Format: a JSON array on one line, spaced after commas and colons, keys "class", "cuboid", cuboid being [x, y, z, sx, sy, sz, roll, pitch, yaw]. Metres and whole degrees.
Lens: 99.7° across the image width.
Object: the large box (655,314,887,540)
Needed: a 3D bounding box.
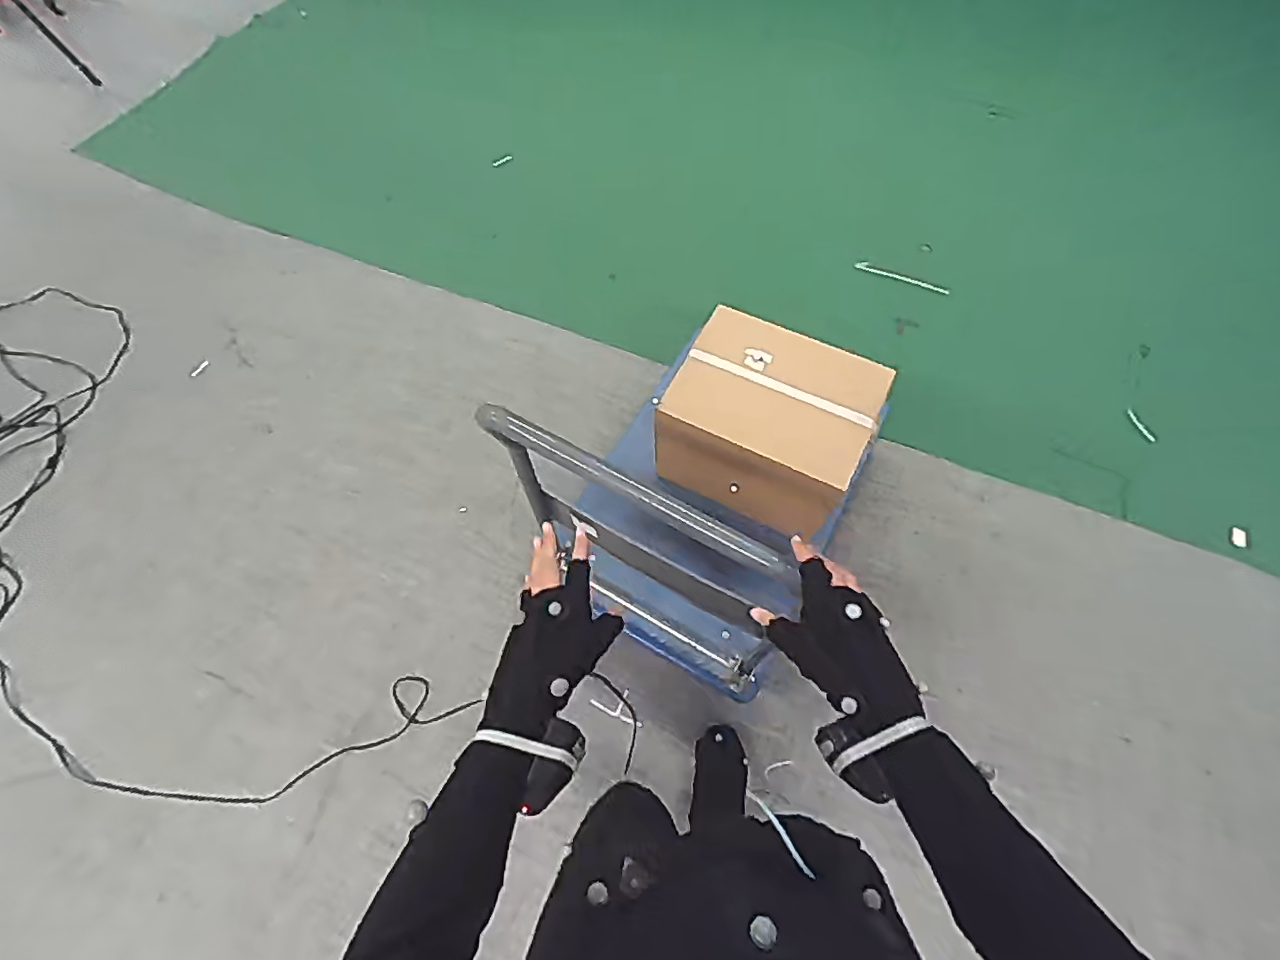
[{"class": "large box", "cuboid": [0.283, -0.113, 1.252, 0.408, 0.320, 0.320, 25, 67, 14]}]
